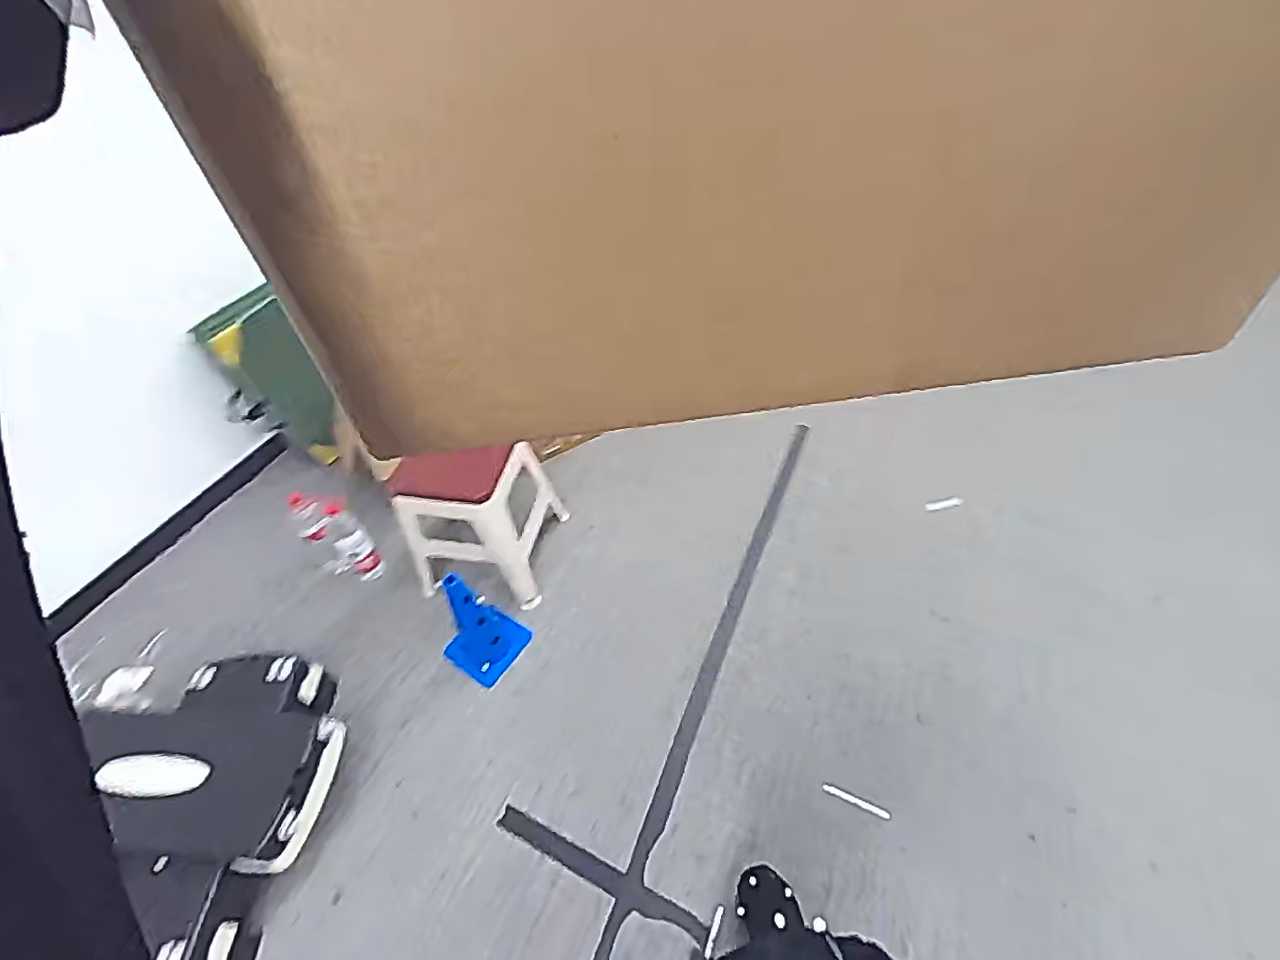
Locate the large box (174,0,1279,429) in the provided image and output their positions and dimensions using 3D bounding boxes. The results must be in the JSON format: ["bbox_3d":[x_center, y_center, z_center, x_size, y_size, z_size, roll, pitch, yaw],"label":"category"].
[{"bbox_3d":[0.052,-0.253,0.260,0.408,0.320,0.320,-7,45,-1],"label":"large box"}]
